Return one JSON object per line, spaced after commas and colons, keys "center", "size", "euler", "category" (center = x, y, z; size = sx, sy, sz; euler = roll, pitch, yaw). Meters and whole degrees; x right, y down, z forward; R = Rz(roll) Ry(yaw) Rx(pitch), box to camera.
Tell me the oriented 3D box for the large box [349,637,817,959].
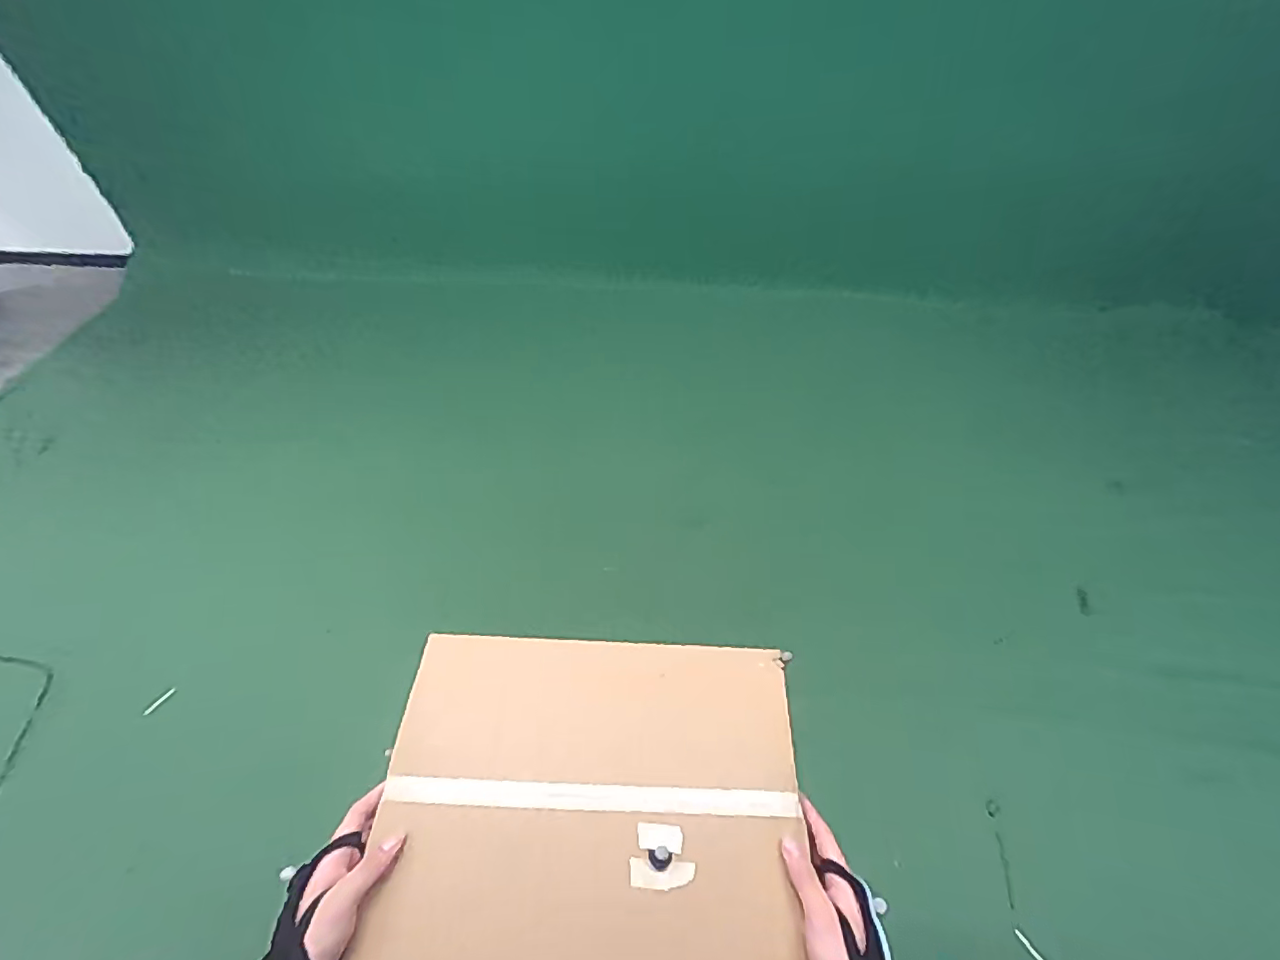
{"center": [-0.051, 0.405, 0.652], "size": [0.408, 0.320, 0.320], "euler": [3, 51, 0], "category": "large box"}
